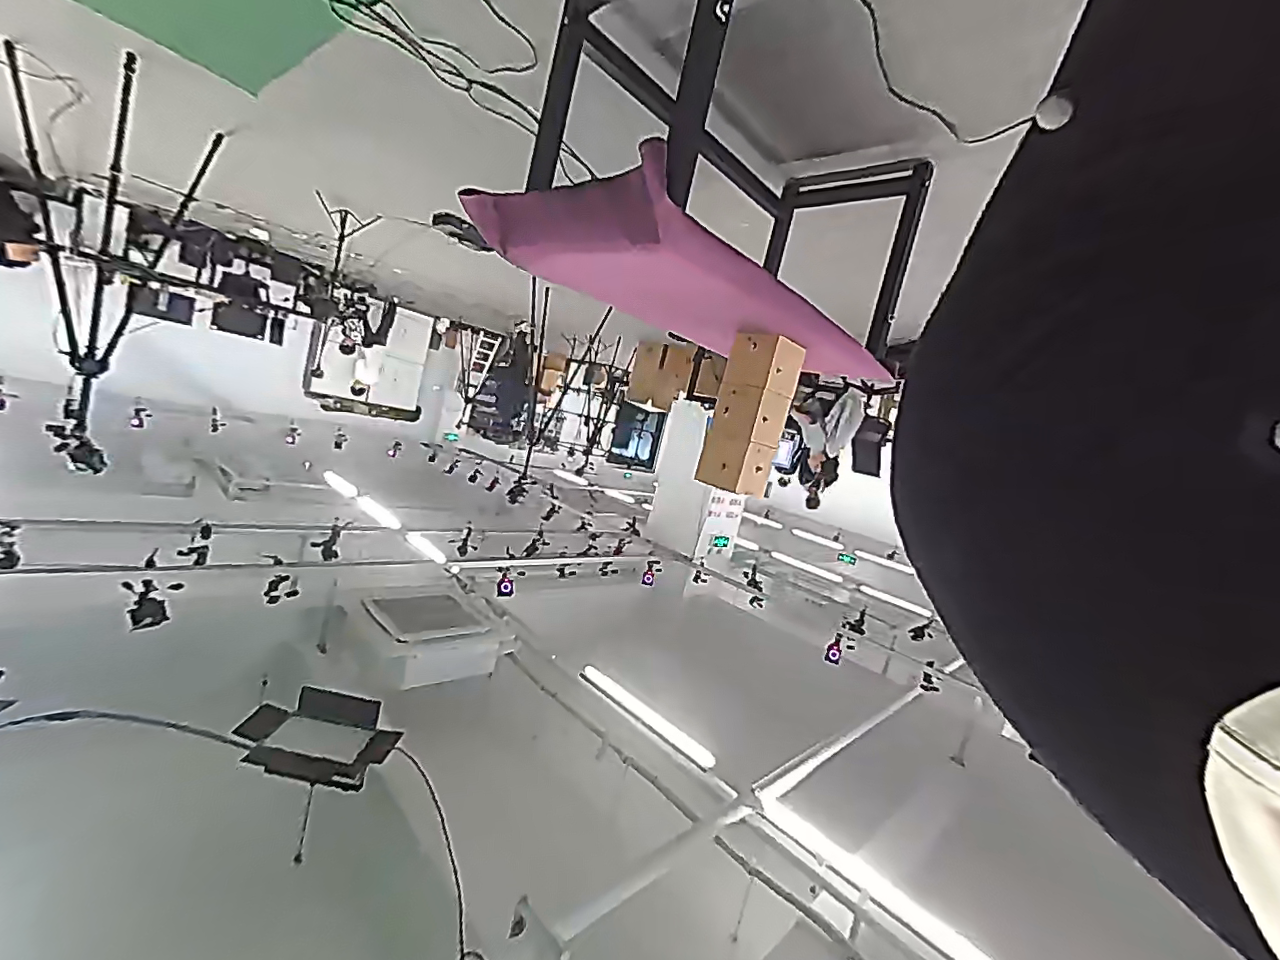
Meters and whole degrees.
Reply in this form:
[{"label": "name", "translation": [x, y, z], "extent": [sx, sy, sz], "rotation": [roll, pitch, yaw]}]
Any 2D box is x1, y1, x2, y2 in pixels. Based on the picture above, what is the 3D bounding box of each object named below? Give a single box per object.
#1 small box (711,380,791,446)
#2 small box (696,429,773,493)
[{"label": "small box", "translation": [0.358, -0.219, 1.737], "extent": [0.168, 0.176, 0.179], "rotation": [20, -172, 43]}, {"label": "small box", "translation": [0.313, -0.063, 1.758], "extent": [0.168, 0.176, 0.179], "rotation": [9, -172, -45]}]
